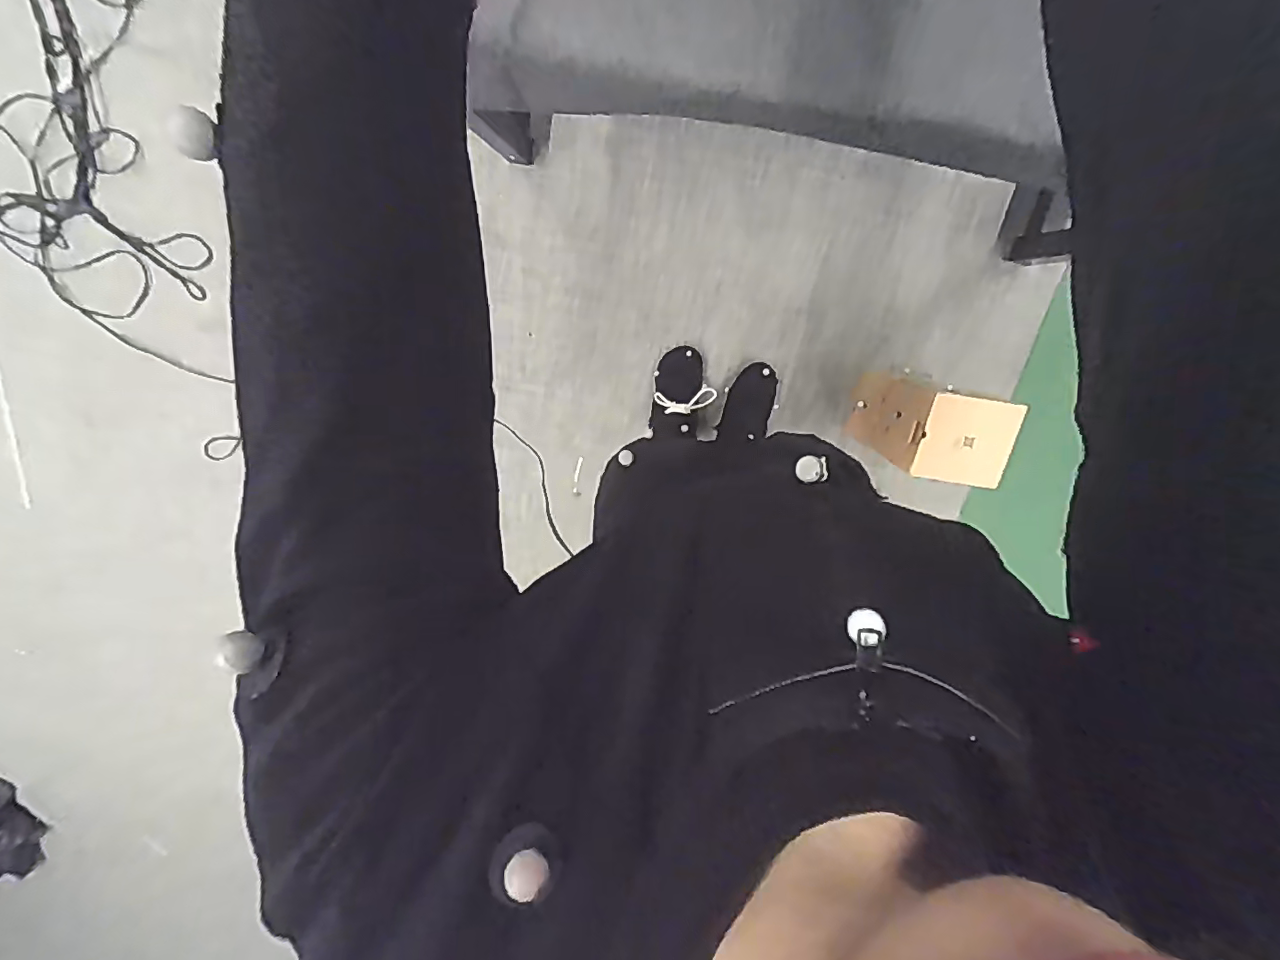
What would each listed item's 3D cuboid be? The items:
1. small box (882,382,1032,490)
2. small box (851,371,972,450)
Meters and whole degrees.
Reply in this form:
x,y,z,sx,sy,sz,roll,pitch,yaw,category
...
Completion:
x,y,z,sx,sy,sz,roll,pitch,yaw,category
0.617,-0.095,1.078,0.179,0.176,0.168,9,109,0,small box
0.607,-0.151,1.233,0.179,0.176,0.168,10,107,0,small box
